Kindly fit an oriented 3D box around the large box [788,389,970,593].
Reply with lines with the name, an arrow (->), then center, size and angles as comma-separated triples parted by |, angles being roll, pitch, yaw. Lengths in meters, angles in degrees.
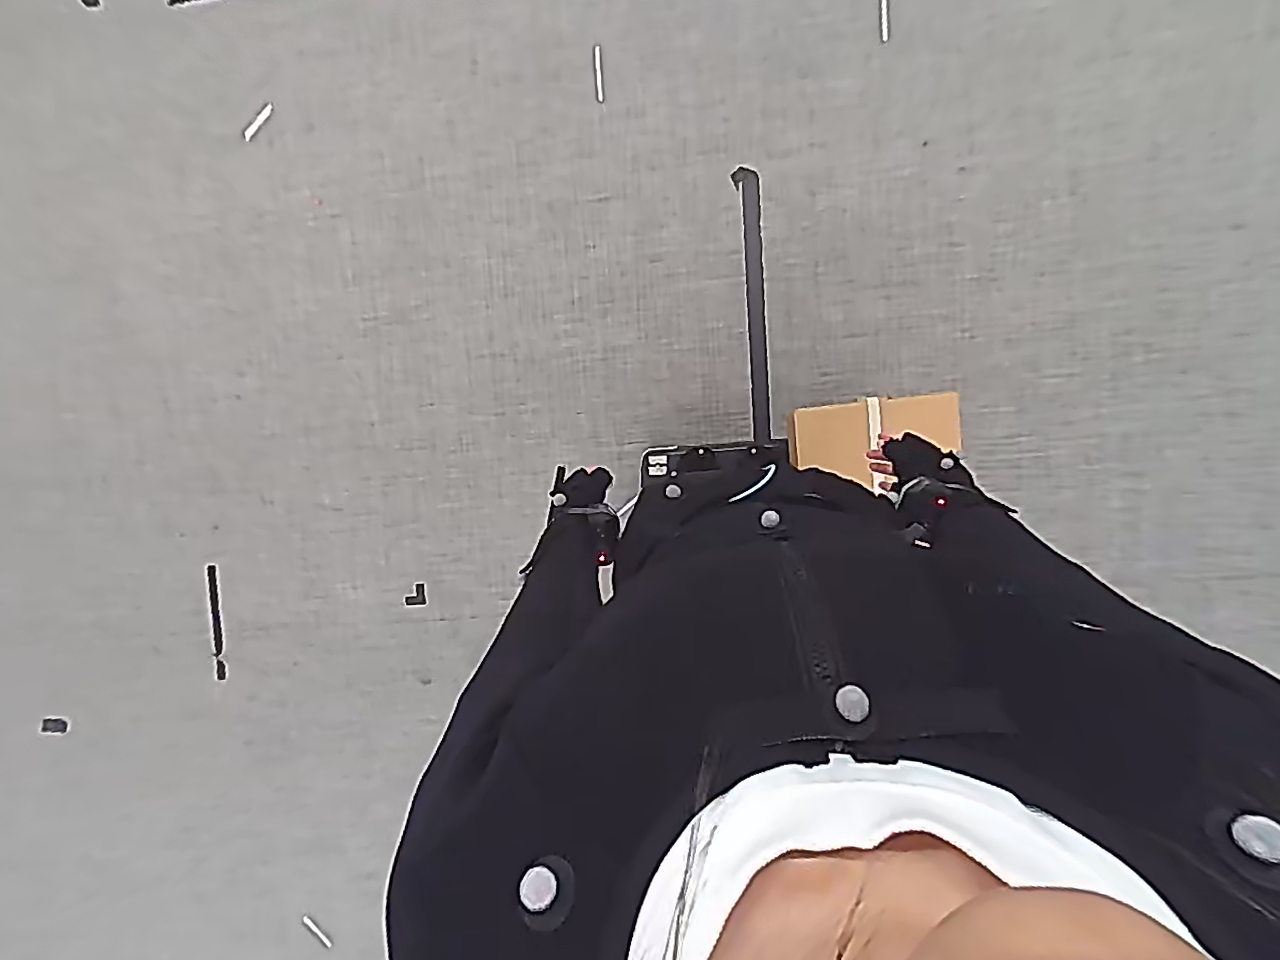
large box -> 0.527, 0.015, 1.253 | 0.320, 0.320, 0.408 | -5, 95, 14
